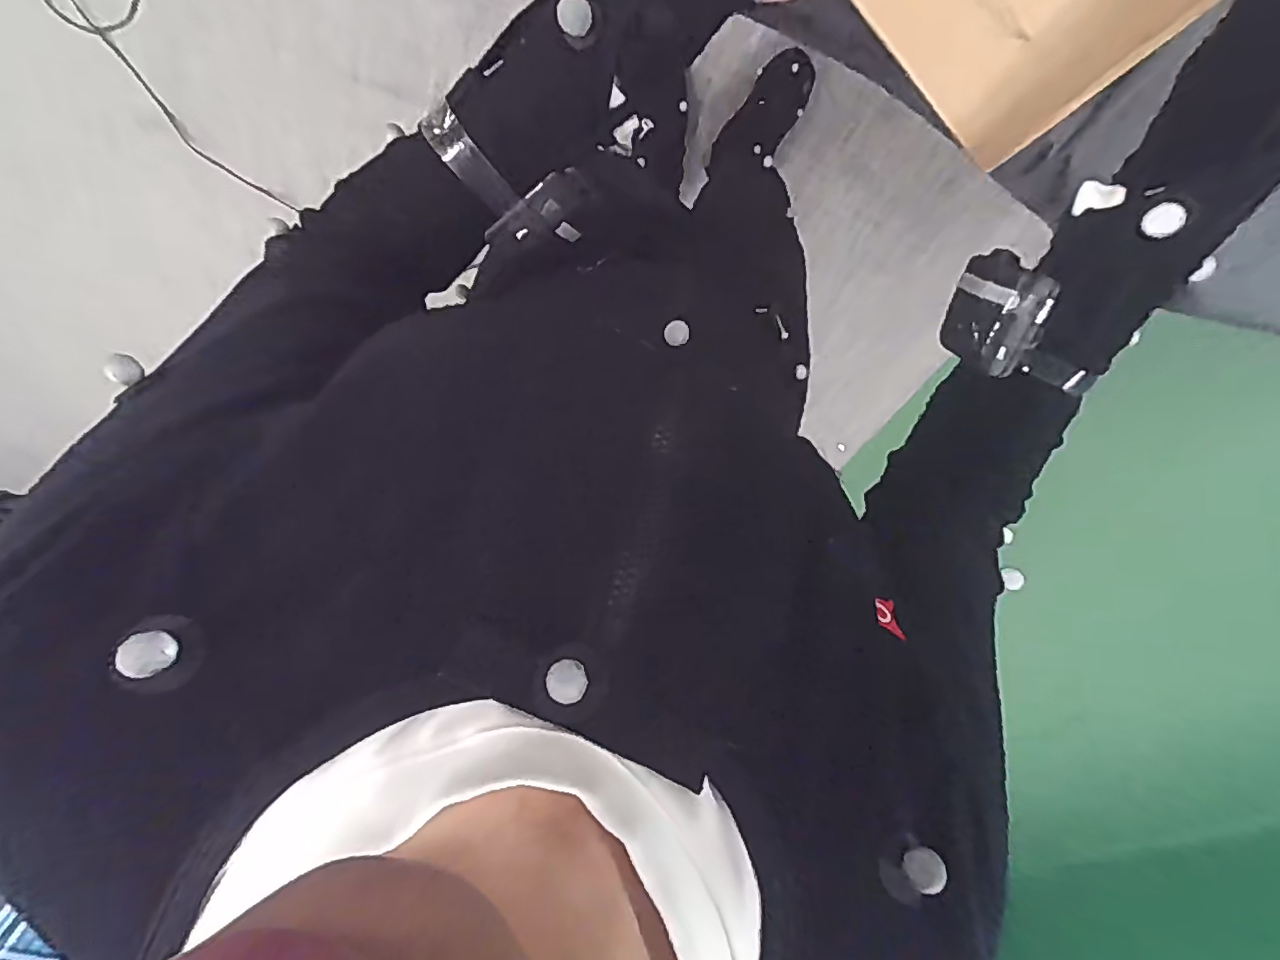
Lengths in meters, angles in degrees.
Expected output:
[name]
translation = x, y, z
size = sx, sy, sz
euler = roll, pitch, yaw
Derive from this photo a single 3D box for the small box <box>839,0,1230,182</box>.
[small box]
translation = 0.211, -0.312, 0.280
size = 0.168, 0.176, 0.179
euler = 36, 140, -19
